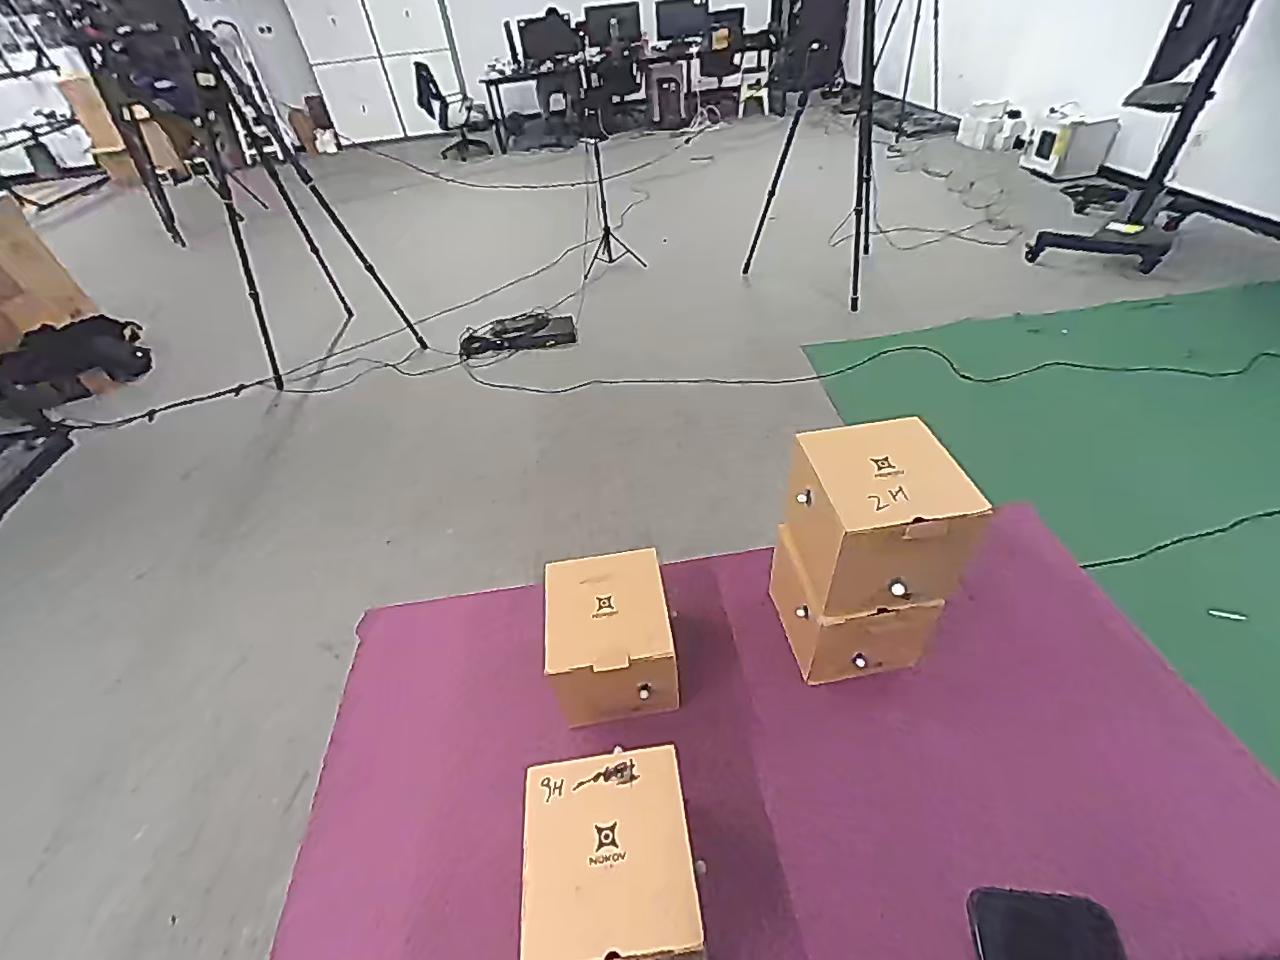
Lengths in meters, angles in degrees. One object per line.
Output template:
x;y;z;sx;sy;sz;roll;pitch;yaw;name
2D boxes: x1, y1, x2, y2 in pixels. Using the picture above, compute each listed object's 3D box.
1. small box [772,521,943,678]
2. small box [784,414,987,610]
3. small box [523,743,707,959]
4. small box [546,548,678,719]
0.305;0.165;0.805;0.168;0.176;0.179;-11;44;-3;small box
0.294;0.041;0.698;0.168;0.176;0.179;-9;44;-1;small box
-0.023;0.417;0.588;0.168;0.176;0.179;-9;43;-1;small box
-0.039;0.229;0.789;0.168;0.176;0.179;-8;43;-2;small box
